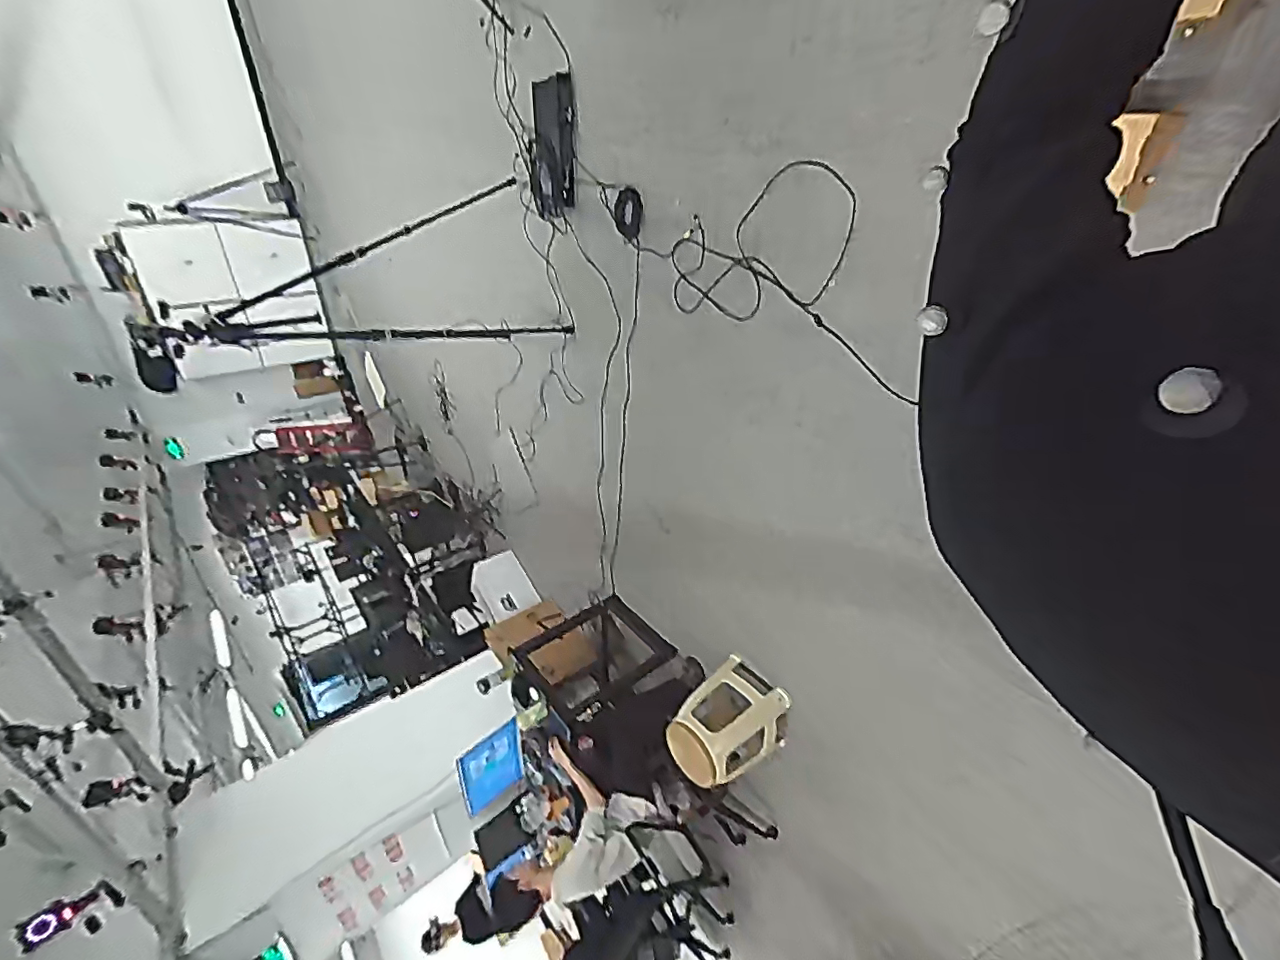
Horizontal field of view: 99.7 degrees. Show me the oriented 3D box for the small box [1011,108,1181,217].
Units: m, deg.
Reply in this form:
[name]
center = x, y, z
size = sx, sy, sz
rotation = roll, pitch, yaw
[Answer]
[small box]
center = 0.861, -0.602, 1.026
size = 0.179, 0.176, 0.168
rotation = 34, 134, 40
